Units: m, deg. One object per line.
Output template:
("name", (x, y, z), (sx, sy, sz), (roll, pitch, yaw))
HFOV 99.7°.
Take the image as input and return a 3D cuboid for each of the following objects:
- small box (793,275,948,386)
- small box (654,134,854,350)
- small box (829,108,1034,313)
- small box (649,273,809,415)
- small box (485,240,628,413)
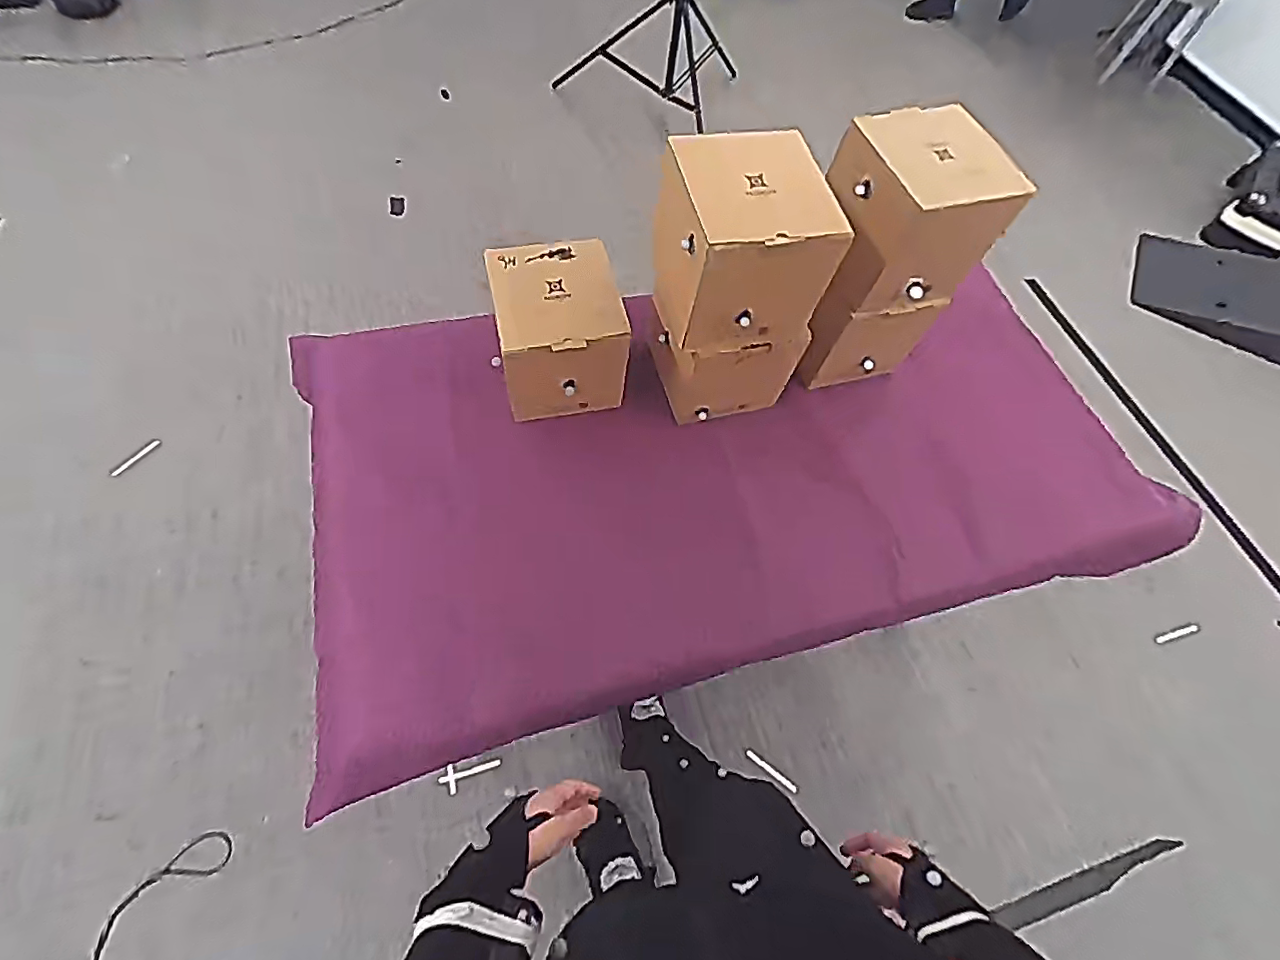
("small box", (0.335, -0.277, 0.864), (0.168, 0.176, 0.179), (-12, 66, -11))
("small box", (0.121, -0.286, 0.663), (0.168, 0.176, 0.179), (-10, 66, -11))
("small box", (0.355, -0.355, 0.722), (0.168, 0.176, 0.179), (-15, 67, -12))
("small box", (0.120, -0.212, 0.808), (0.168, 0.176, 0.179), (-12, 65, -12))
("small box", (-0.118, -0.211, 0.780), (0.168, 0.176, 0.179), (-10, 67, -11))
